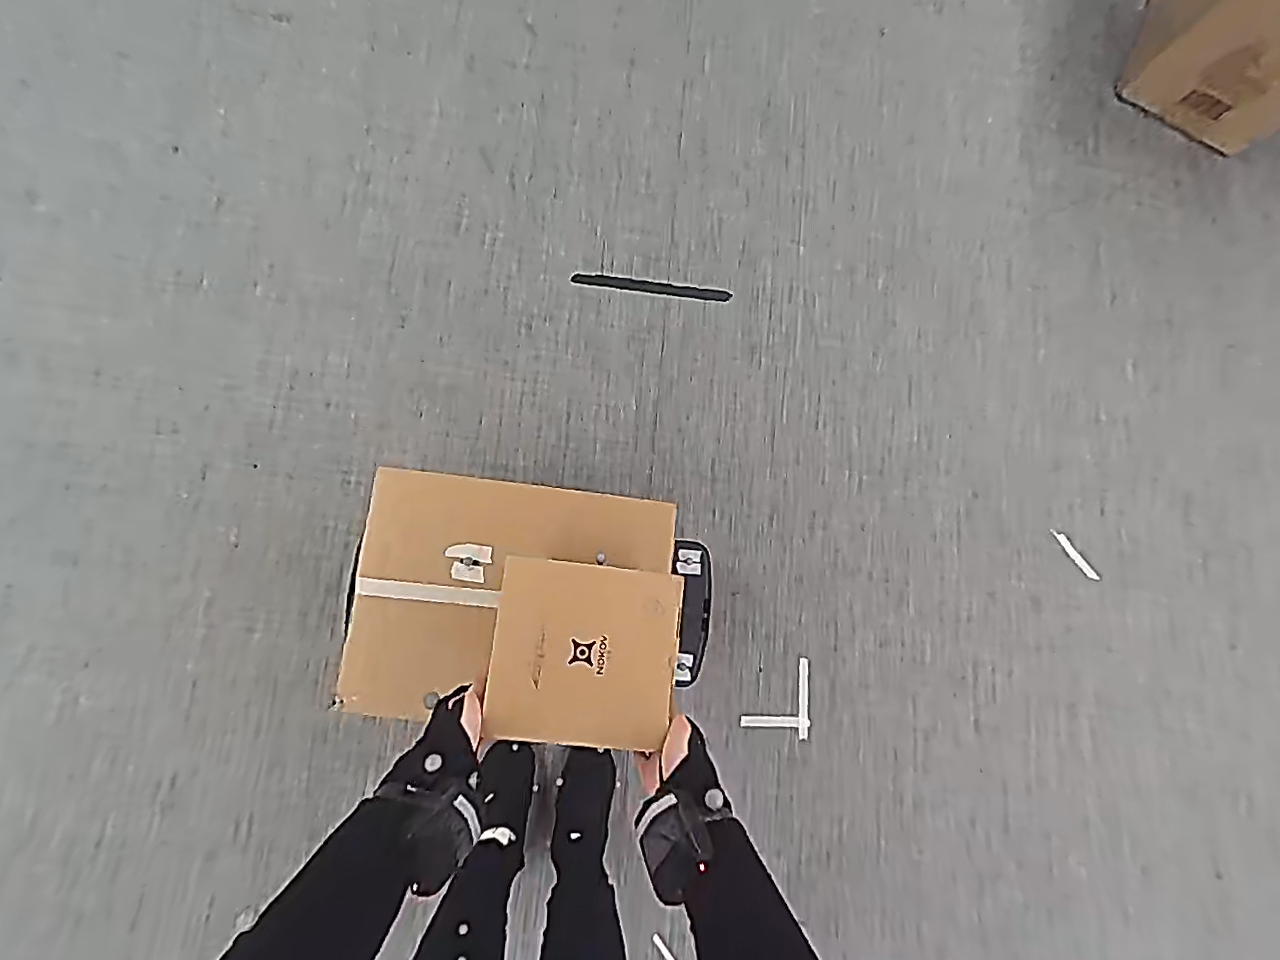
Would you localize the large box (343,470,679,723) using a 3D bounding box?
[{"bbox_3d":[-0.168,0.179,0.849,0.408,0.320,0.320,7,80,-4],"label":"large box"}]

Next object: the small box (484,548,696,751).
[{"bbox_3d":[-0.052,0.167,0.575,0.179,0.176,0.168,9,79,-5],"label":"small box"}]

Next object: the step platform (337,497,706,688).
[{"bbox_3d":[-0.213,0.229,1.079,0.684,0.204,0.286,13,80,-3],"label":"step platform"}]
